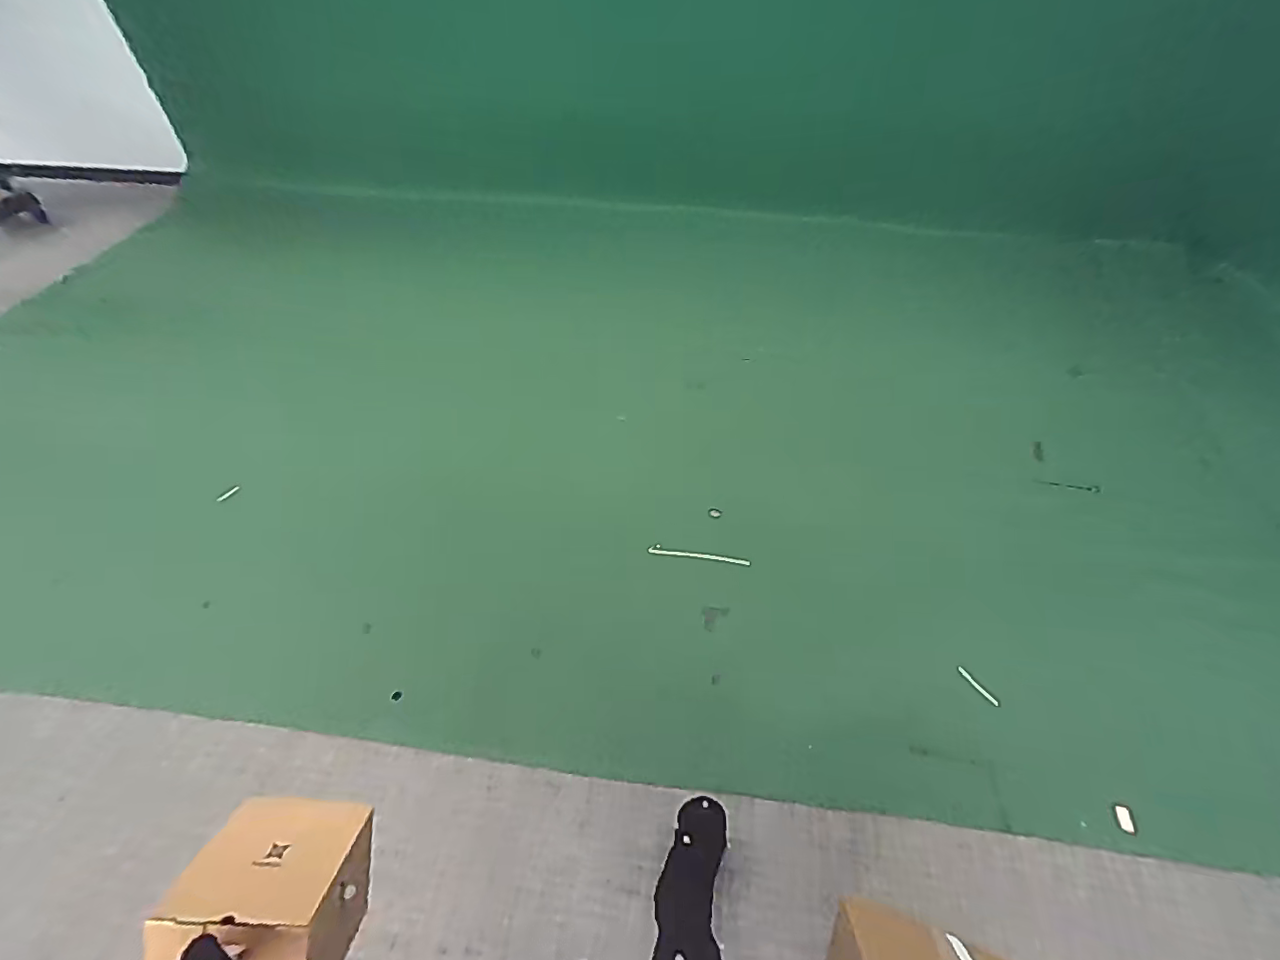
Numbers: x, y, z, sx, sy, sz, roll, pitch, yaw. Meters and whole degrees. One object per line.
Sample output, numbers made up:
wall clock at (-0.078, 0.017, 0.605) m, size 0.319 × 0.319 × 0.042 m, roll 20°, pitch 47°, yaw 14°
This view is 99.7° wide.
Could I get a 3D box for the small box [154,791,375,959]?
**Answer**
small box at (-0.453, 0.528, 0.670) m, size 0.168 × 0.176 × 0.179 m, roll 7°, pitch 11°, yaw -6°
